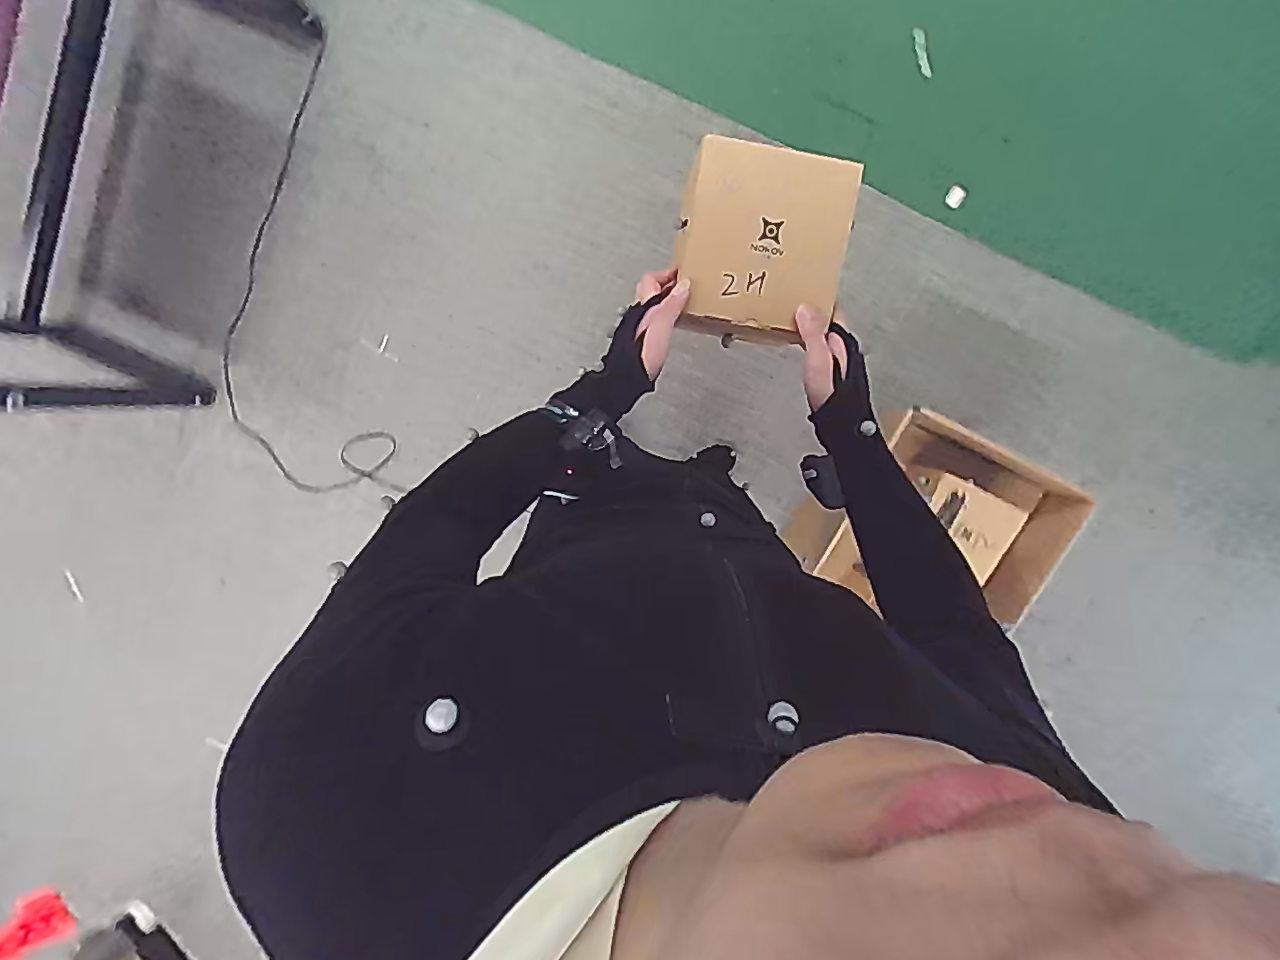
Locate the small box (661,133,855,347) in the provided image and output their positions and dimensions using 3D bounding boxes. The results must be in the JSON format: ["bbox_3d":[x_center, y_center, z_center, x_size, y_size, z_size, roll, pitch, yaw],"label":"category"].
[{"bbox_3d":[0.120,-0.259,0.626,0.168,0.176,0.179,8,100,-4],"label":"small box"}]
